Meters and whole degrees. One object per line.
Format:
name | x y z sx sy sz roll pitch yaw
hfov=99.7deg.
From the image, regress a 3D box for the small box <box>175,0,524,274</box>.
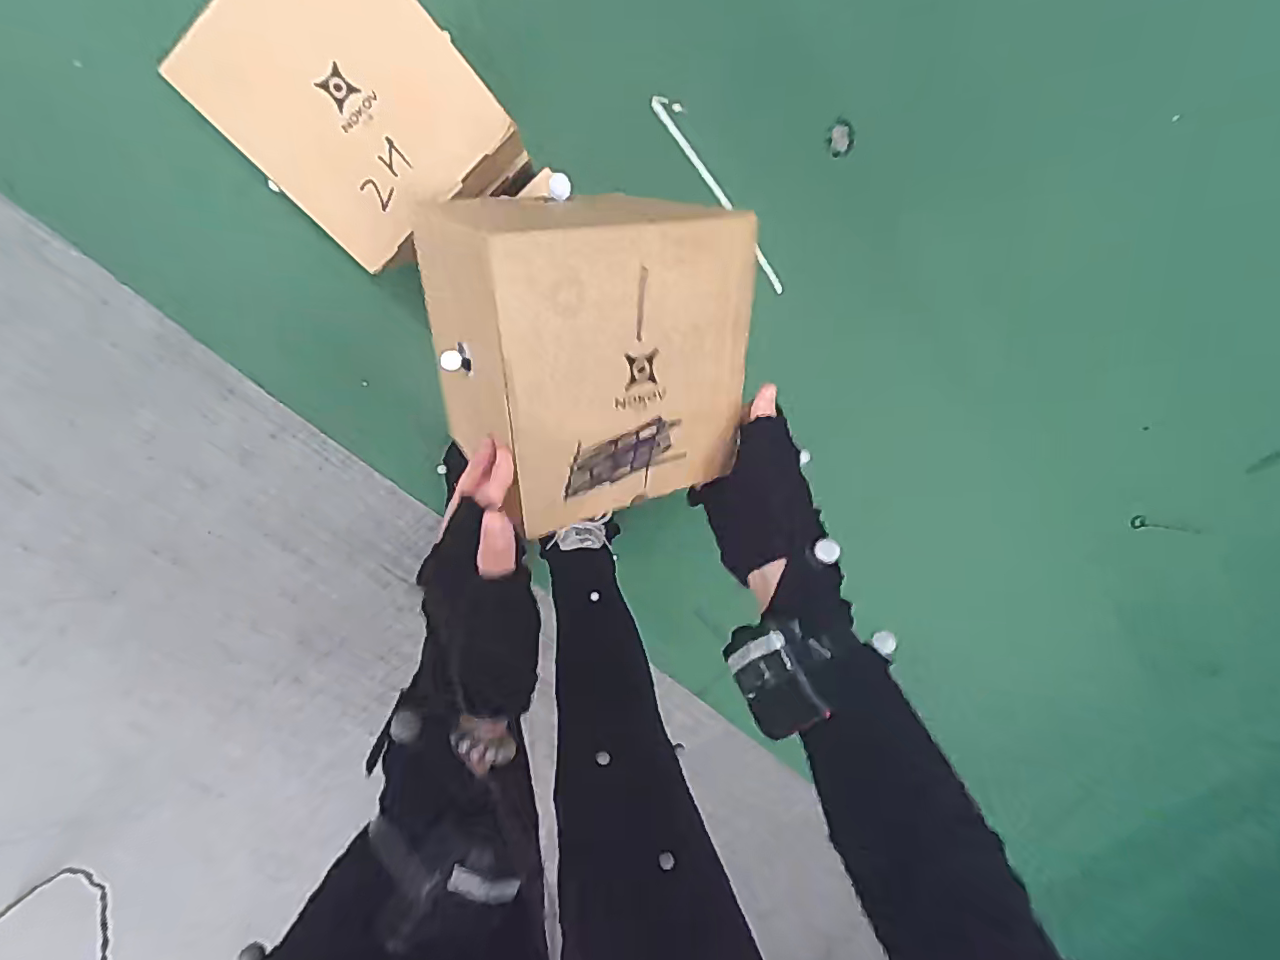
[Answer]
small box | -0.219 -0.305 0.464 0.168 0.176 0.179 -39 116 10
